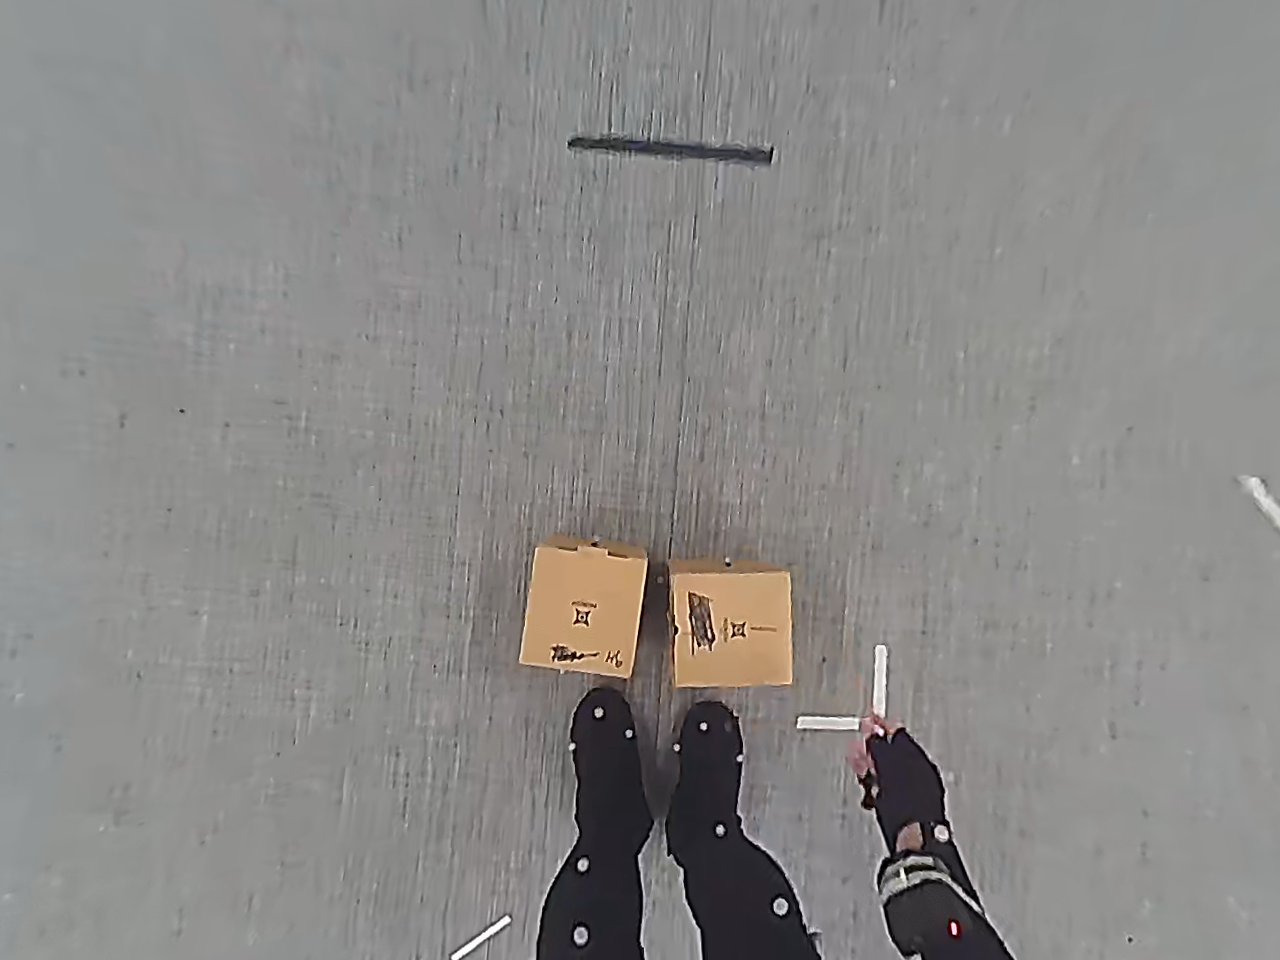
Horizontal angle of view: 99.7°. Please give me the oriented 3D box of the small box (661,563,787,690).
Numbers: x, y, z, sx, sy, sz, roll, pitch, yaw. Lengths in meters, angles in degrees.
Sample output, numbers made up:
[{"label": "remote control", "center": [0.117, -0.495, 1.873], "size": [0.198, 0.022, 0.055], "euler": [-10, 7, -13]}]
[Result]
[{"label": "small box", "center": [0.126, 0.227, 0.868], "size": [0.179, 0.176, 0.168], "euler": [0, 88, -3]}]

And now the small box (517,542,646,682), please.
[{"label": "small box", "center": [-0.087, 0.199, 0.863], "size": [0.168, 0.176, 0.179], "euler": [9, 87, -1]}]
